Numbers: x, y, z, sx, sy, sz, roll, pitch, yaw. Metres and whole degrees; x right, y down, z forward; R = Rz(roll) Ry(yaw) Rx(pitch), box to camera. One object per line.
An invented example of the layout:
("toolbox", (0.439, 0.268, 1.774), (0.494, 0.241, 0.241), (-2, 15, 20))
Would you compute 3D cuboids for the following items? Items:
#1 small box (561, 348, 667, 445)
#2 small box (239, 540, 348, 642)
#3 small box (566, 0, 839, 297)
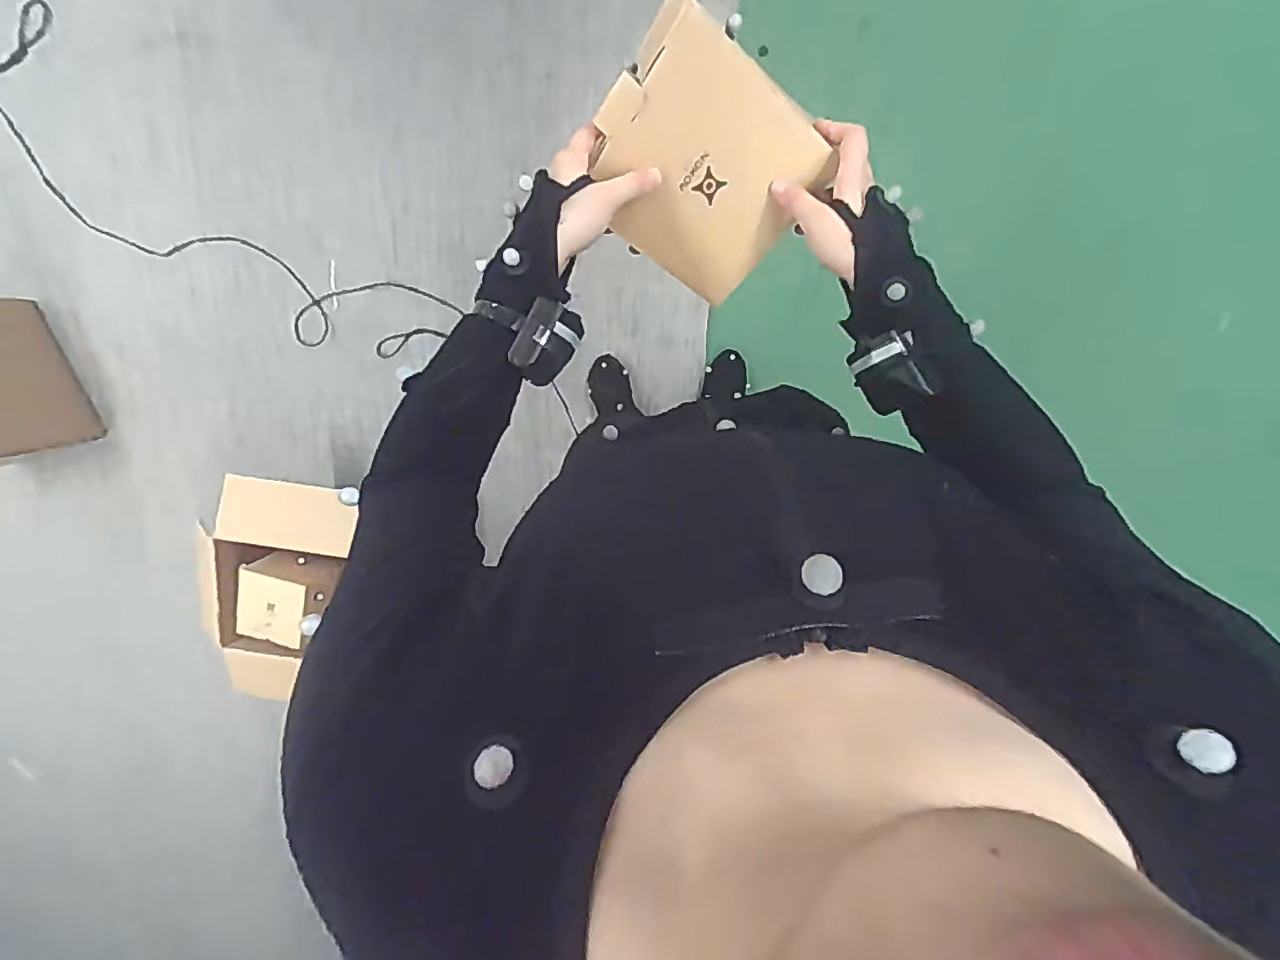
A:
("small box", (-0.059, -0.210, 1.353), (0.176, 0.168, 0.179), (35, 80, -33))
("small box", (-0.865, 0.271, 1.362), (0.168, 0.176, 0.179), (14, 106, 3))
("small box", (0.053, -0.320, 0.514), (0.179, 0.176, 0.168), (27, 131, -24))
